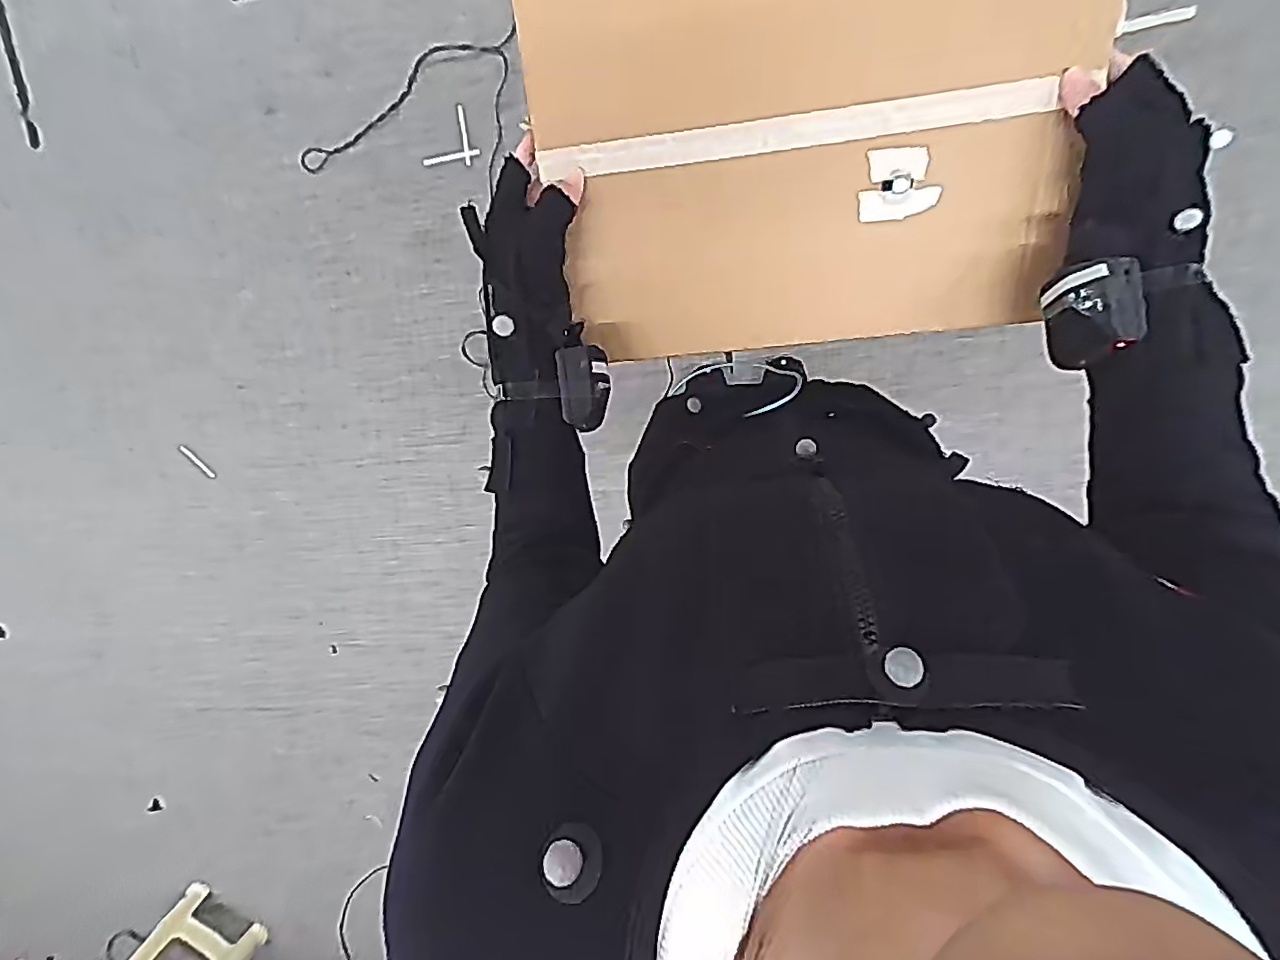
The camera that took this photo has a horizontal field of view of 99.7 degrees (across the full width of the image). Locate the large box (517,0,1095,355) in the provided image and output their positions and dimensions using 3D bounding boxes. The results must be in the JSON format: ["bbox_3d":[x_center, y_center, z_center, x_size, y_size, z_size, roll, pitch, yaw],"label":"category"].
[{"bbox_3d":[0.127,-0.328,0.546,0.408,0.320,0.320,-5,114,5],"label":"large box"}]
